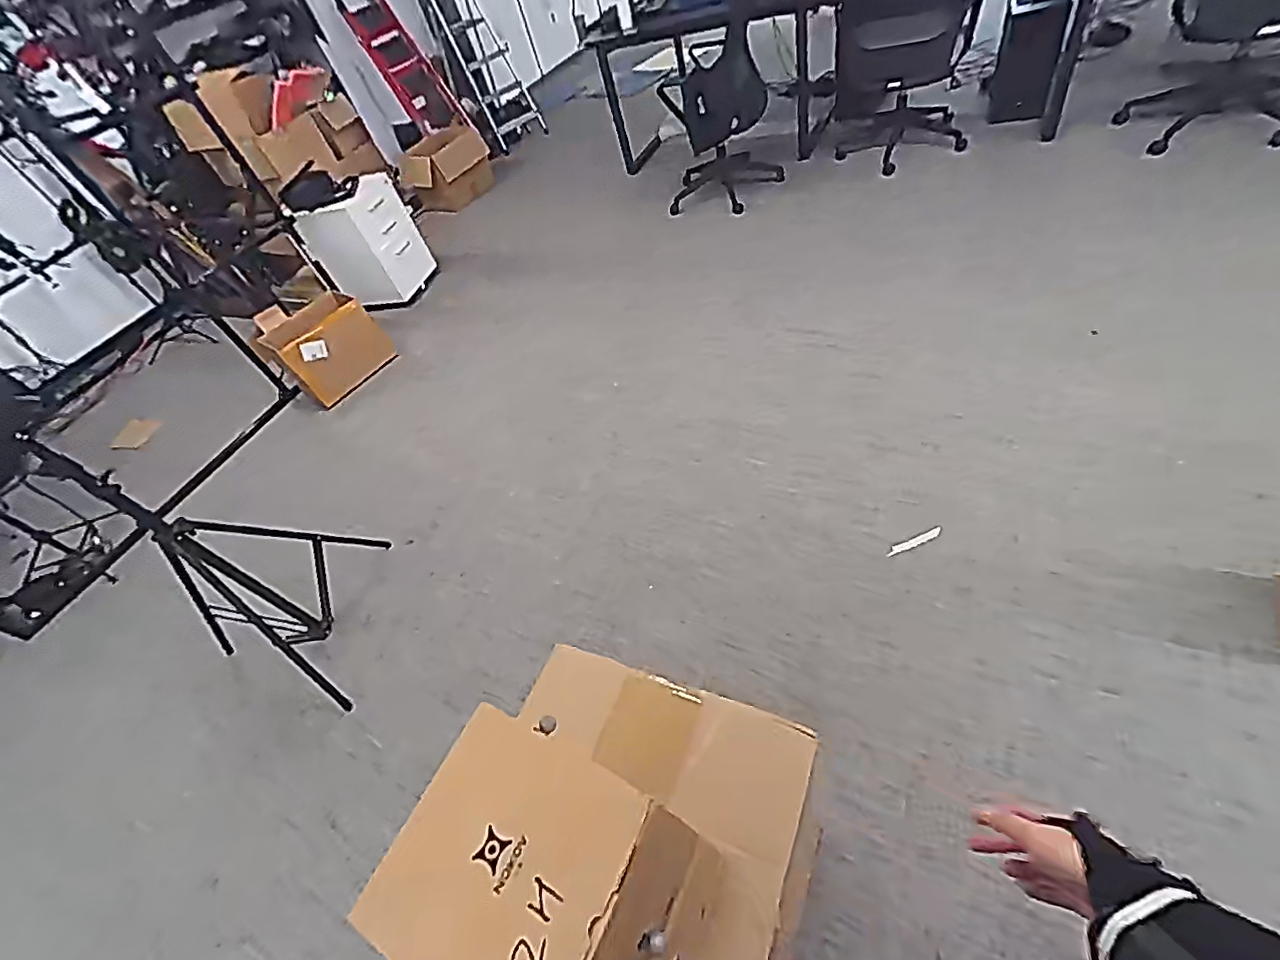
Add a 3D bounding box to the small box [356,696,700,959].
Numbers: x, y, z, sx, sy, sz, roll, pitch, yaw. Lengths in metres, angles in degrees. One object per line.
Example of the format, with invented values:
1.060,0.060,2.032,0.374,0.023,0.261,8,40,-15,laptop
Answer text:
-0.072,0.310,0.436,0.179,0.176,0.168,14,57,29,small box
